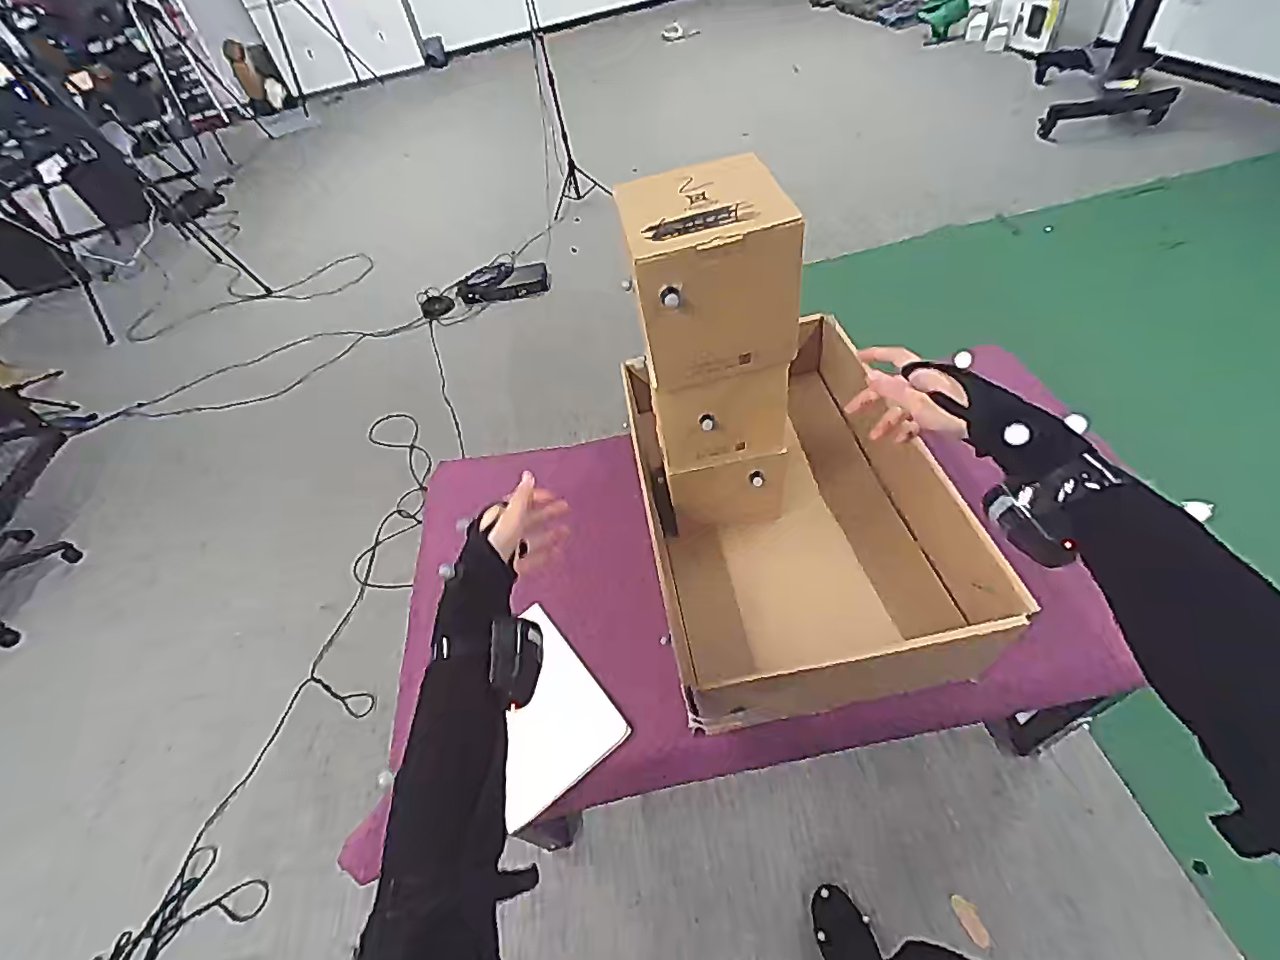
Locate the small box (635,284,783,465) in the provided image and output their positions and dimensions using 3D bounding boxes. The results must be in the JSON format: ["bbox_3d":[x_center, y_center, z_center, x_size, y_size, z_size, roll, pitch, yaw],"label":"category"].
[{"bbox_3d":[0.096,-0.138,0.753,0.168,0.176,0.179,-12,50,3],"label":"small box"}]
